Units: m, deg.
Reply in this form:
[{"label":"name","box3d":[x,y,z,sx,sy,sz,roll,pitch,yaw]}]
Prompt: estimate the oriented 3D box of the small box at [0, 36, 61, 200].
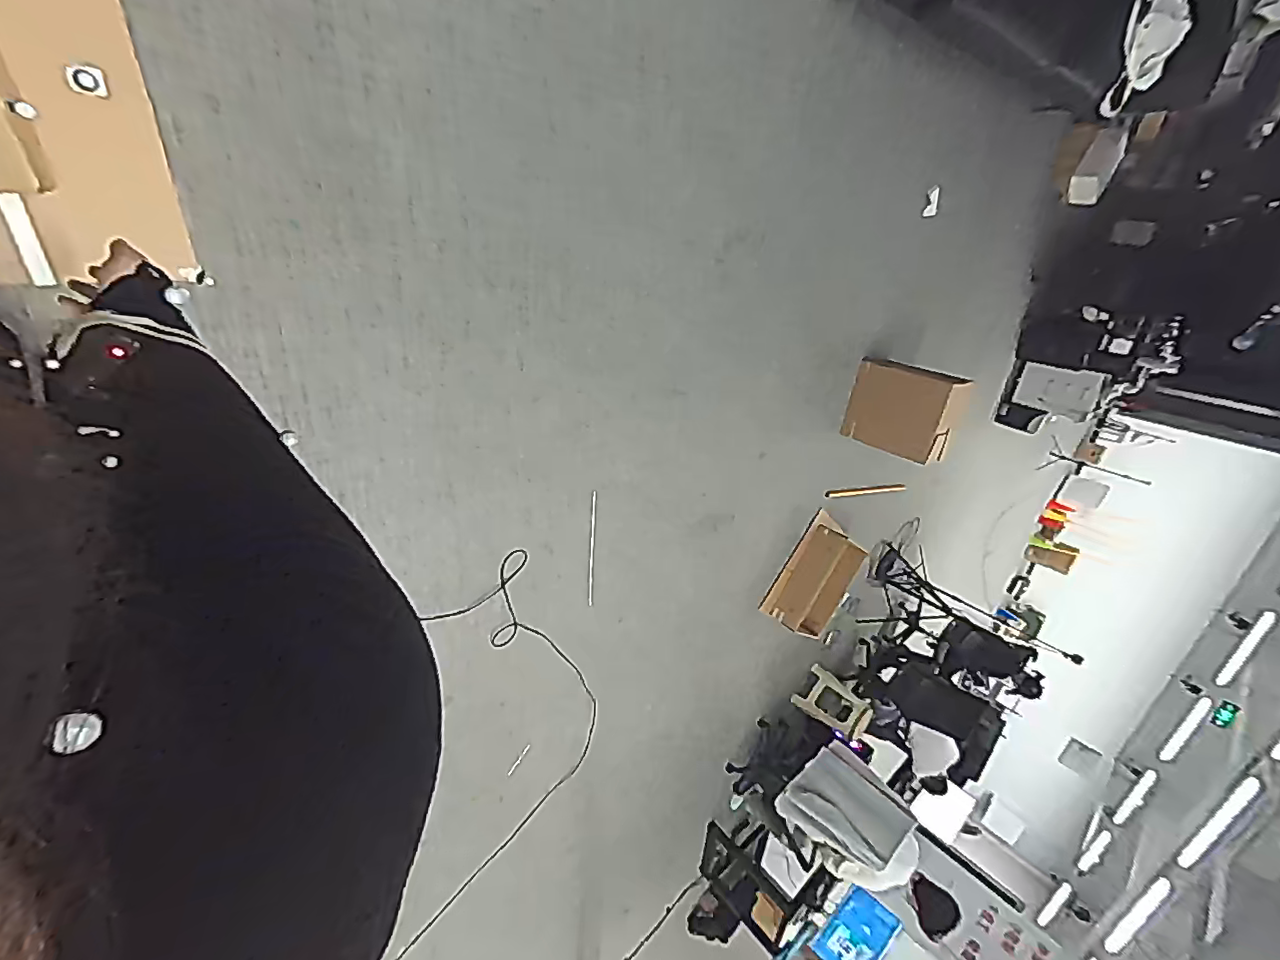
[{"label":"small box","box3d":[-0.678,-0.358,0.489,0.168,0.176,0.179,-21,126,-34]}]
